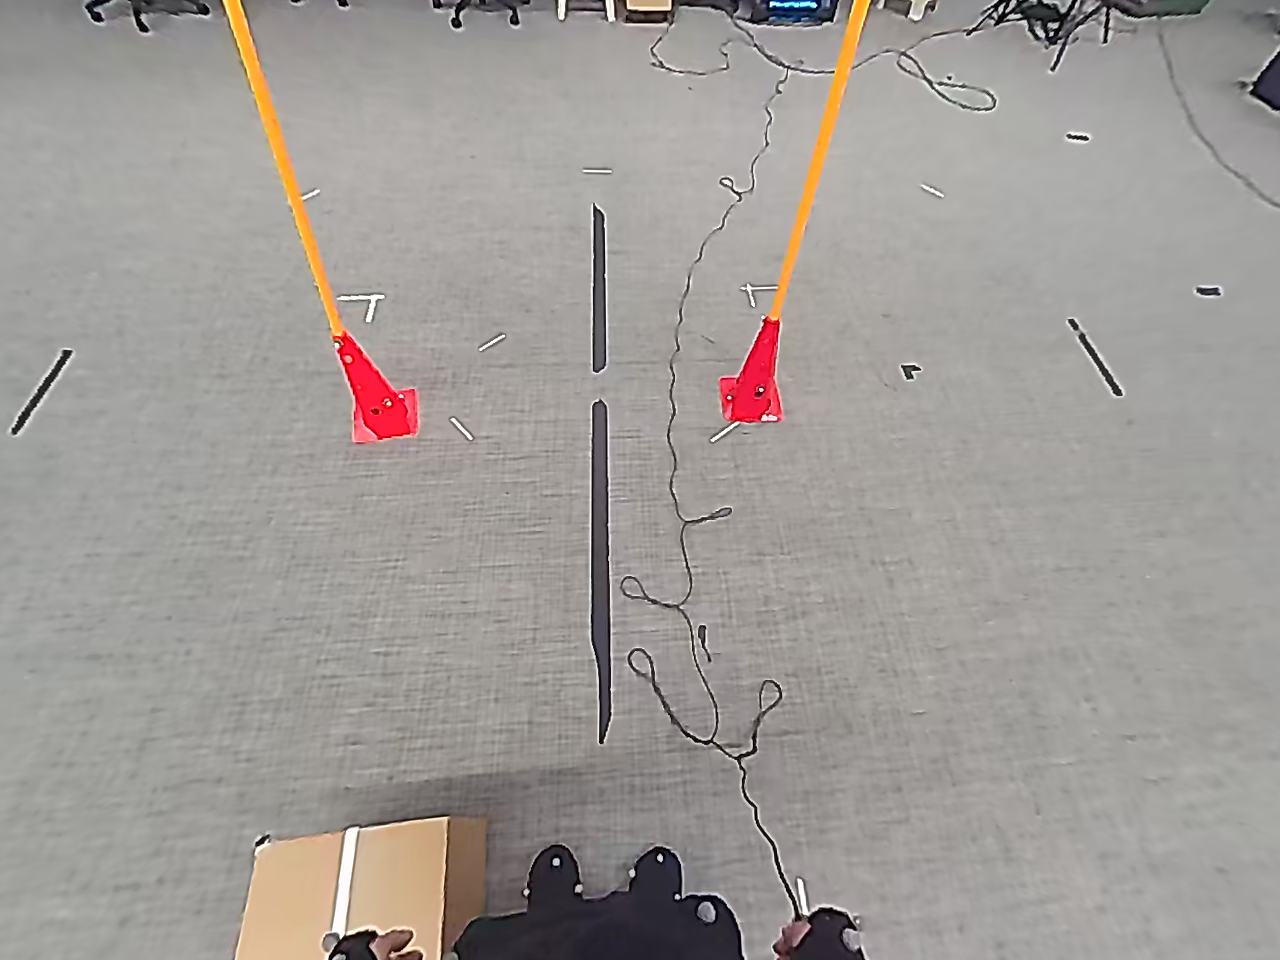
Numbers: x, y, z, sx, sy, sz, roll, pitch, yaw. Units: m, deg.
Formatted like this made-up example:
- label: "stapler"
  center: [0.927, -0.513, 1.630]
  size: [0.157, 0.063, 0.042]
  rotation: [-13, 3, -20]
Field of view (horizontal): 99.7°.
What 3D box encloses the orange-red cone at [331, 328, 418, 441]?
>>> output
- label: "orange-red cone"
  center: [-0.825, -0.305, 1.612]
  size: [0.199, 0.360, 0.198]
  rotation: [-10, 58, -7]
